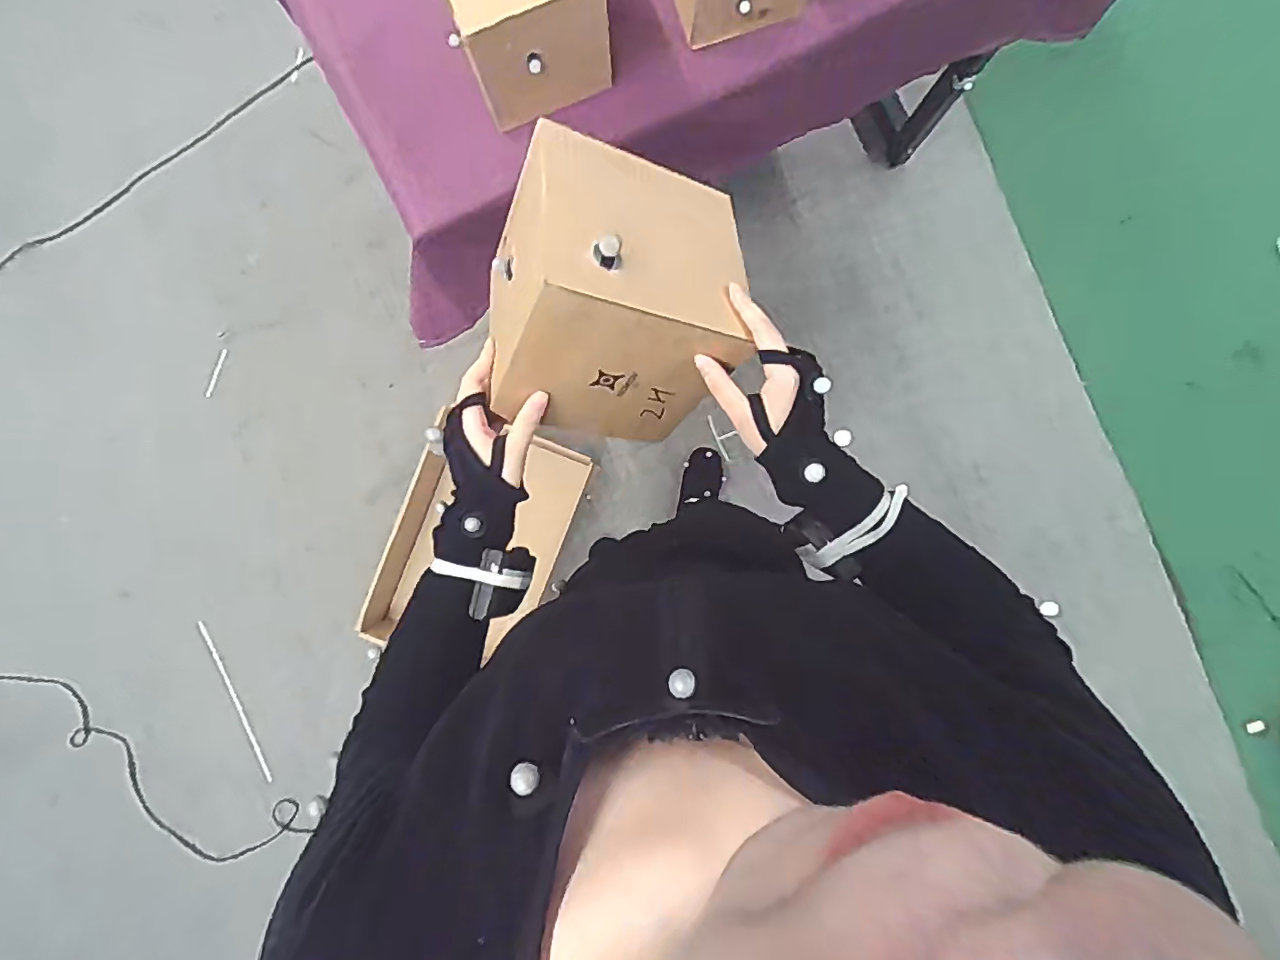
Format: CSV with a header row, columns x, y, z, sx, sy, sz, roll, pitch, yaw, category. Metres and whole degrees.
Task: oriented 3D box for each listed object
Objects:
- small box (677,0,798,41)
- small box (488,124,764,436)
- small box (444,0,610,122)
x,y,z,sx,sy,sz,roll,pitch,yaw,category
0.122,-0.725,0.689,0.168,0.176,0.179,-18,91,0,small box
-0.023,-0.161,0.468,0.179,0.168,0.176,8,64,-26,small box
-0.150,-0.605,0.688,0.179,0.176,0.168,-22,91,1,small box
